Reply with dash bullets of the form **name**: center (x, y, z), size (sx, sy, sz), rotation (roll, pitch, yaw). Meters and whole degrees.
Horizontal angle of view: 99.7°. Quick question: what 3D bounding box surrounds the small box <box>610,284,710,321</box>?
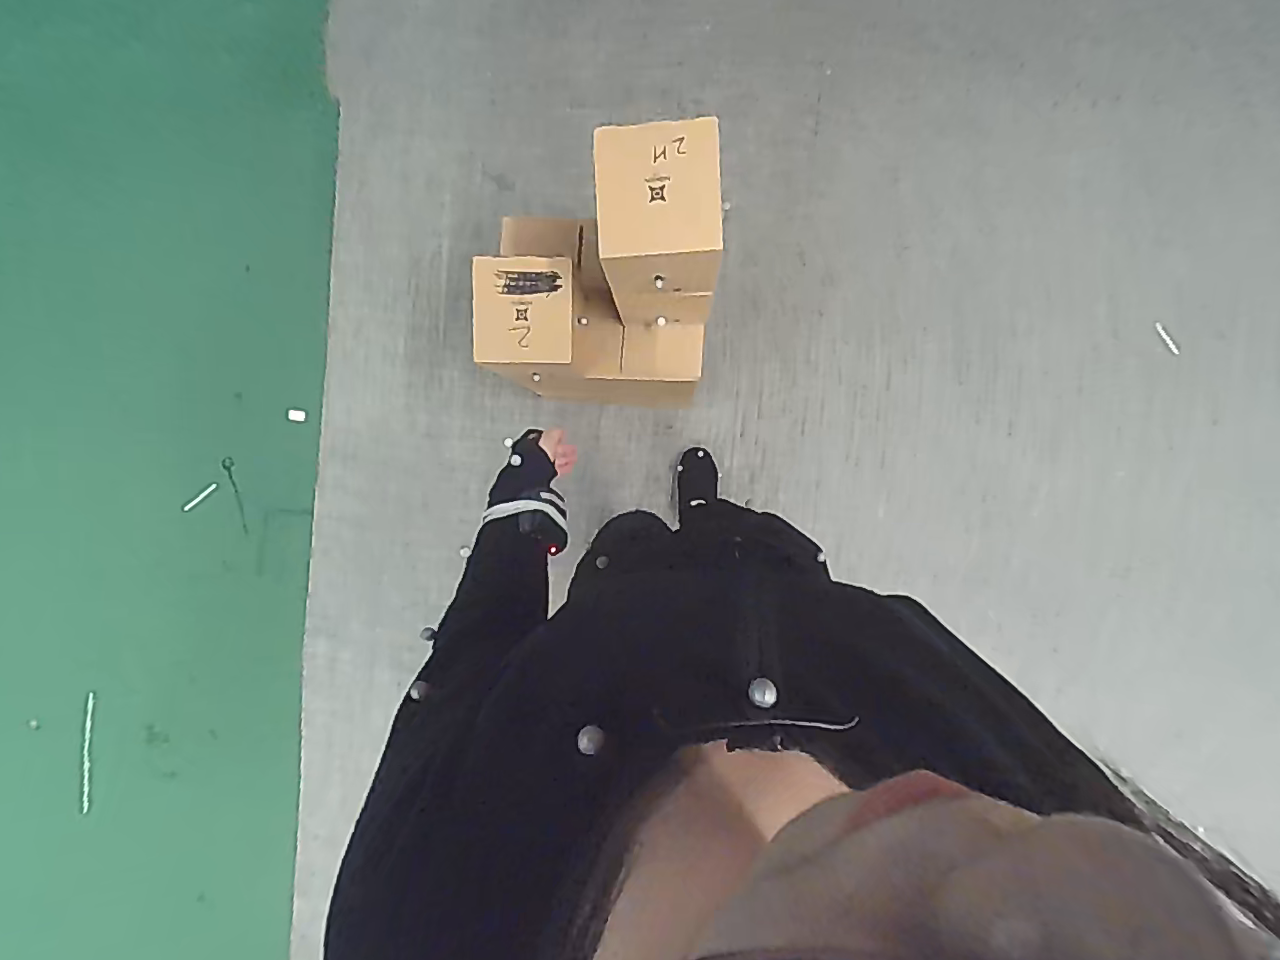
- **small box**: center (0.040, -0.392, 0.961), size (0.168, 0.176, 0.179), rotation (1, 93, 5)

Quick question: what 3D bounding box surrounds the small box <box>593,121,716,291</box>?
- **small box**: center (0.026, -0.387, 0.797), size (0.168, 0.176, 0.179), rotation (-1, 91, 4)
